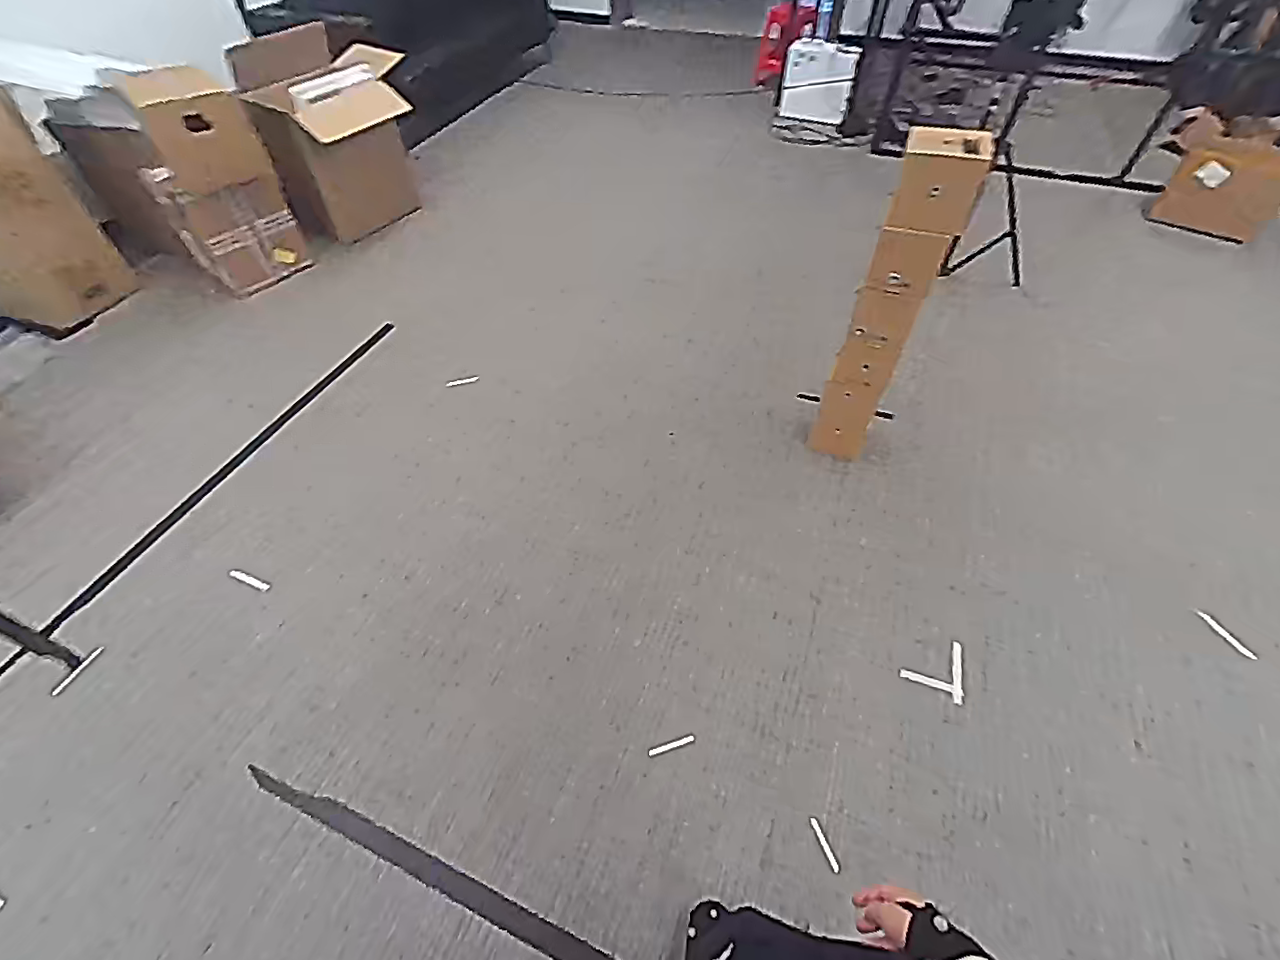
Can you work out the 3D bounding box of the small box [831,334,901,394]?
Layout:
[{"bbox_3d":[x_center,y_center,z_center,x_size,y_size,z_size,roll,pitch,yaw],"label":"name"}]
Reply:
[{"bbox_3d":[0.704,-0.394,1.669,0.168,0.176,0.179,18,55,15],"label":"small box"}]

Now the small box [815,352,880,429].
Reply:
[{"bbox_3d":[0.697,-0.293,1.797,0.179,0.176,0.168,19,55,16],"label":"small box"}]

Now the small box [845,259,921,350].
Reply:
[{"bbox_3d":[0.698,-0.498,1.542,0.168,0.176,0.179,17,53,15],"label":"small box"}]

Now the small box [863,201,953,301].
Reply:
[{"bbox_3d":[0.698,-0.599,1.415,0.168,0.176,0.179,15,55,14],"label":"small box"}]

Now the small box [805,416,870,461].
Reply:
[{"bbox_3d":[0.708,-0.191,1.926,0.179,0.176,0.168,17,54,14],"label":"small box"}]
